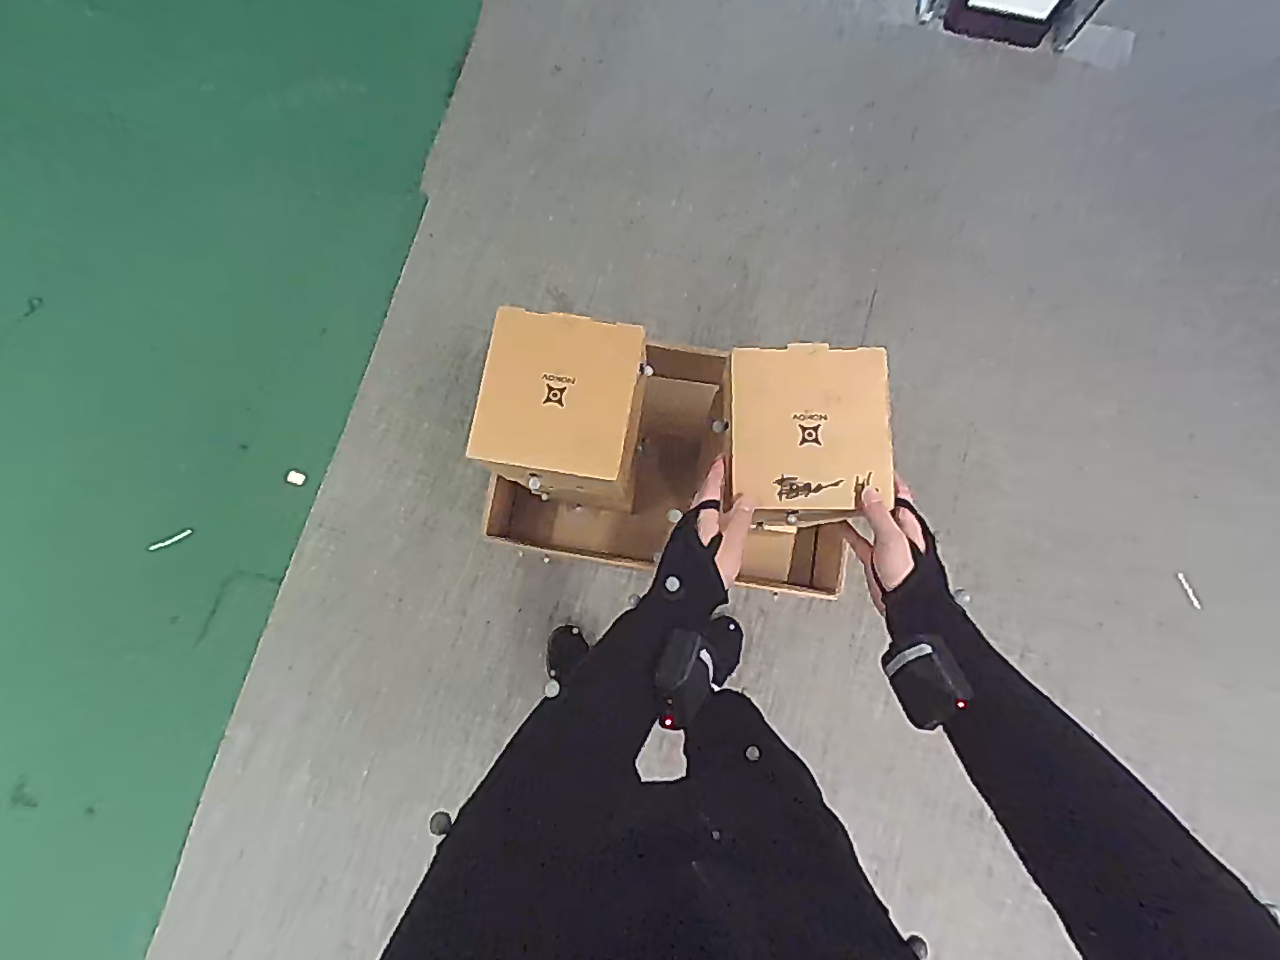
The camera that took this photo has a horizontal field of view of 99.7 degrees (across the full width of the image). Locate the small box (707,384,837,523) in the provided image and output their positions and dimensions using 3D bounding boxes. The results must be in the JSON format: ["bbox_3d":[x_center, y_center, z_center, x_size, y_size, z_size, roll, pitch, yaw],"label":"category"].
[{"bbox_3d":[0.189,-0.029,0.792,0.168,0.176,0.179,3,82,2],"label":"small box"}]

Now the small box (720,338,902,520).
[{"bbox_3d":[0.183,-0.049,0.630,0.168,0.176,0.179,1,82,3],"label":"small box"}]

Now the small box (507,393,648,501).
[{"bbox_3d":[-0.082,-0.071,0.807,0.168,0.176,0.179,11,81,3],"label":"small box"}]

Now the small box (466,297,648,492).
[{"bbox_3d":[-0.084,-0.089,0.646,0.168,0.176,0.179,9,81,3],"label":"small box"}]
